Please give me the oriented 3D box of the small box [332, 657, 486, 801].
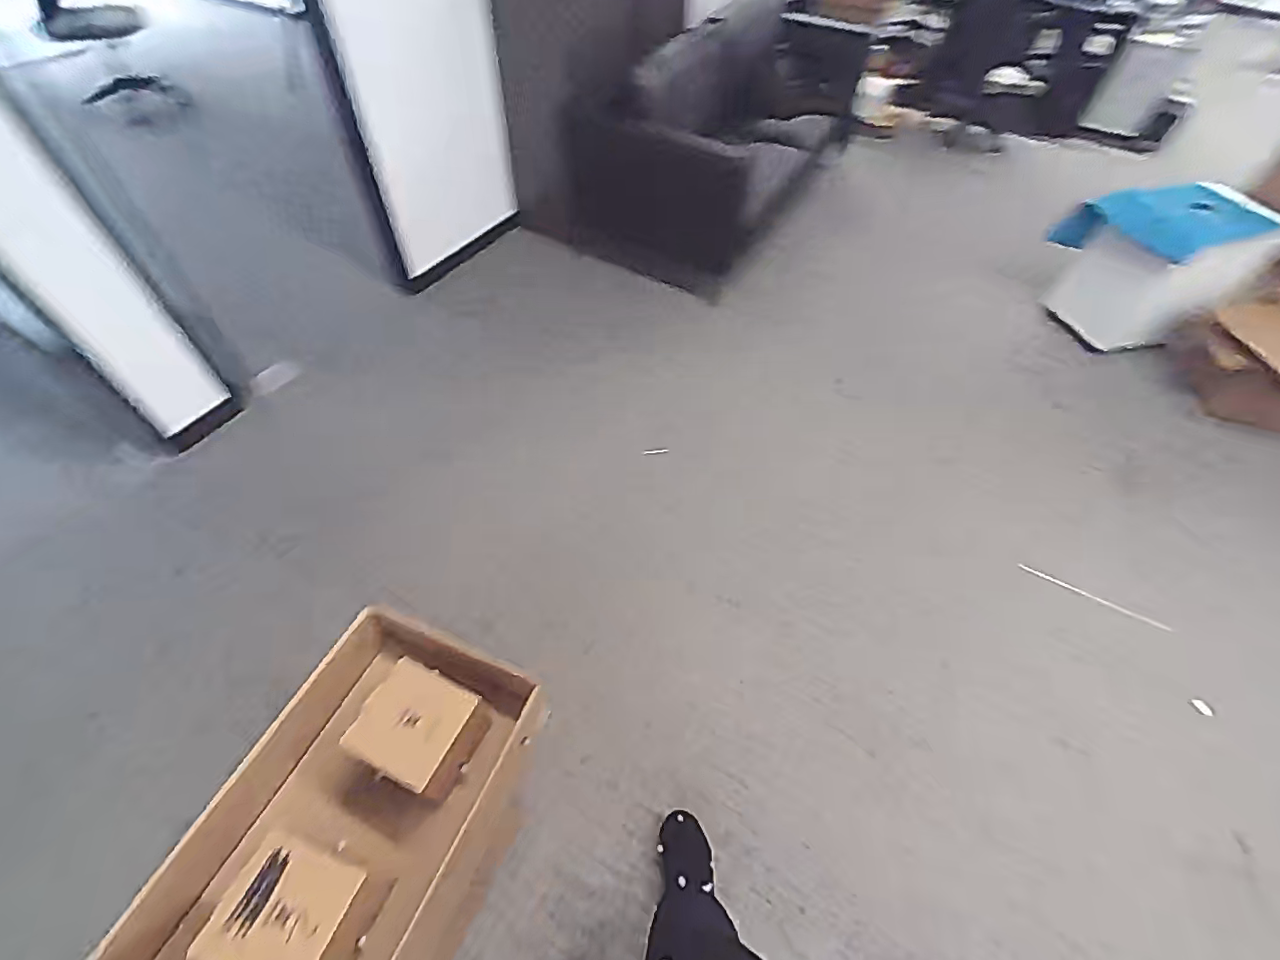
[{"bbox_3d":[-0.408,0.459,0.987,0.179,0.176,0.168,22,55,13],"label":"small box"}]
